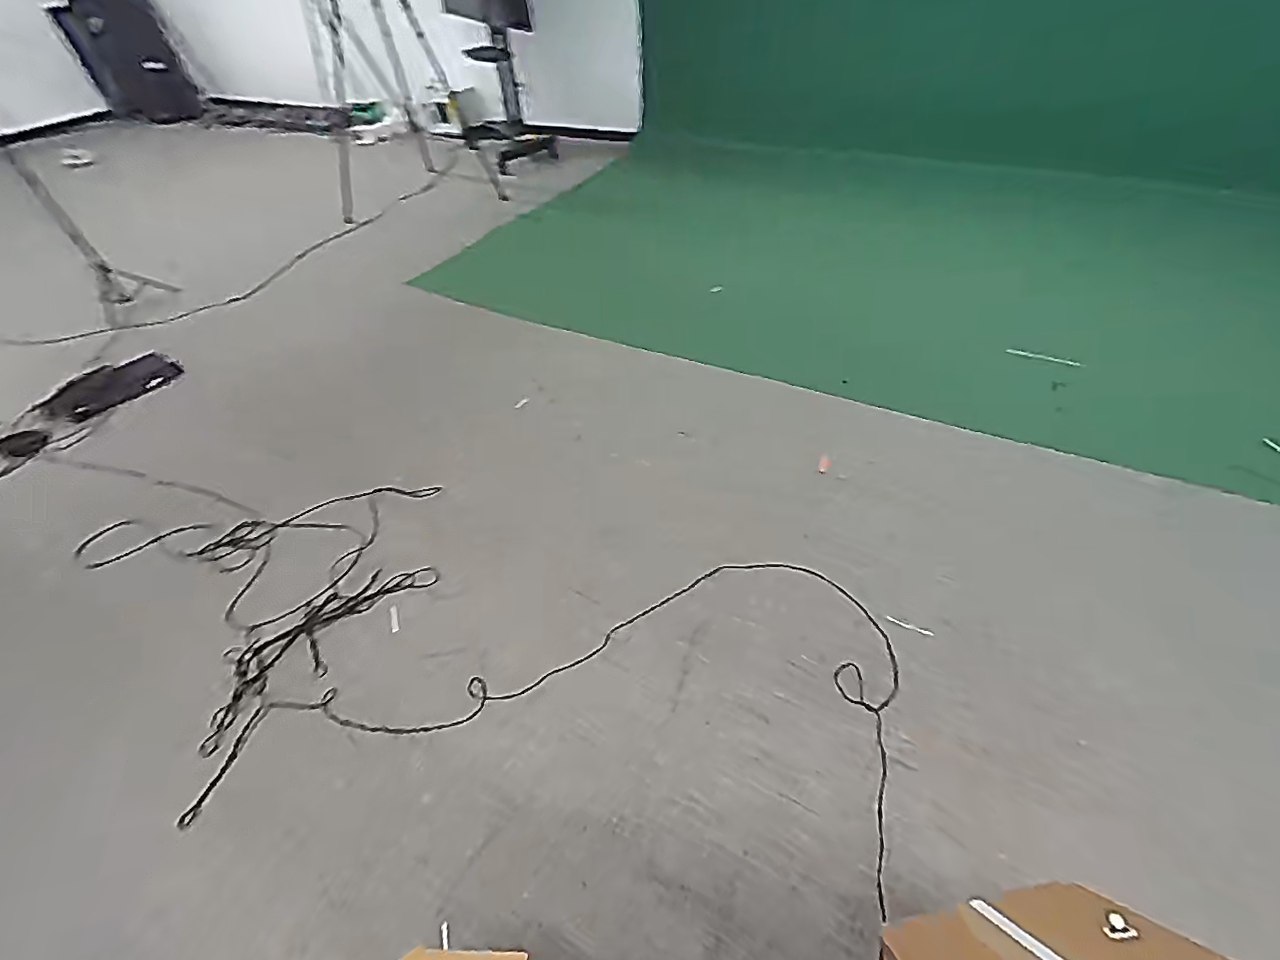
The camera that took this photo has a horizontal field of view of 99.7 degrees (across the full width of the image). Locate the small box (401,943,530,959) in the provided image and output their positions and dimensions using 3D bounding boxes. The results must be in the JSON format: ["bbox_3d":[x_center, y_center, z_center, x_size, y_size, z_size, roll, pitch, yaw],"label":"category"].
[{"bbox_3d":[-0.232,0.692,0.627,0.168,0.179,0.176,3,80,-1],"label":"small box"}]
